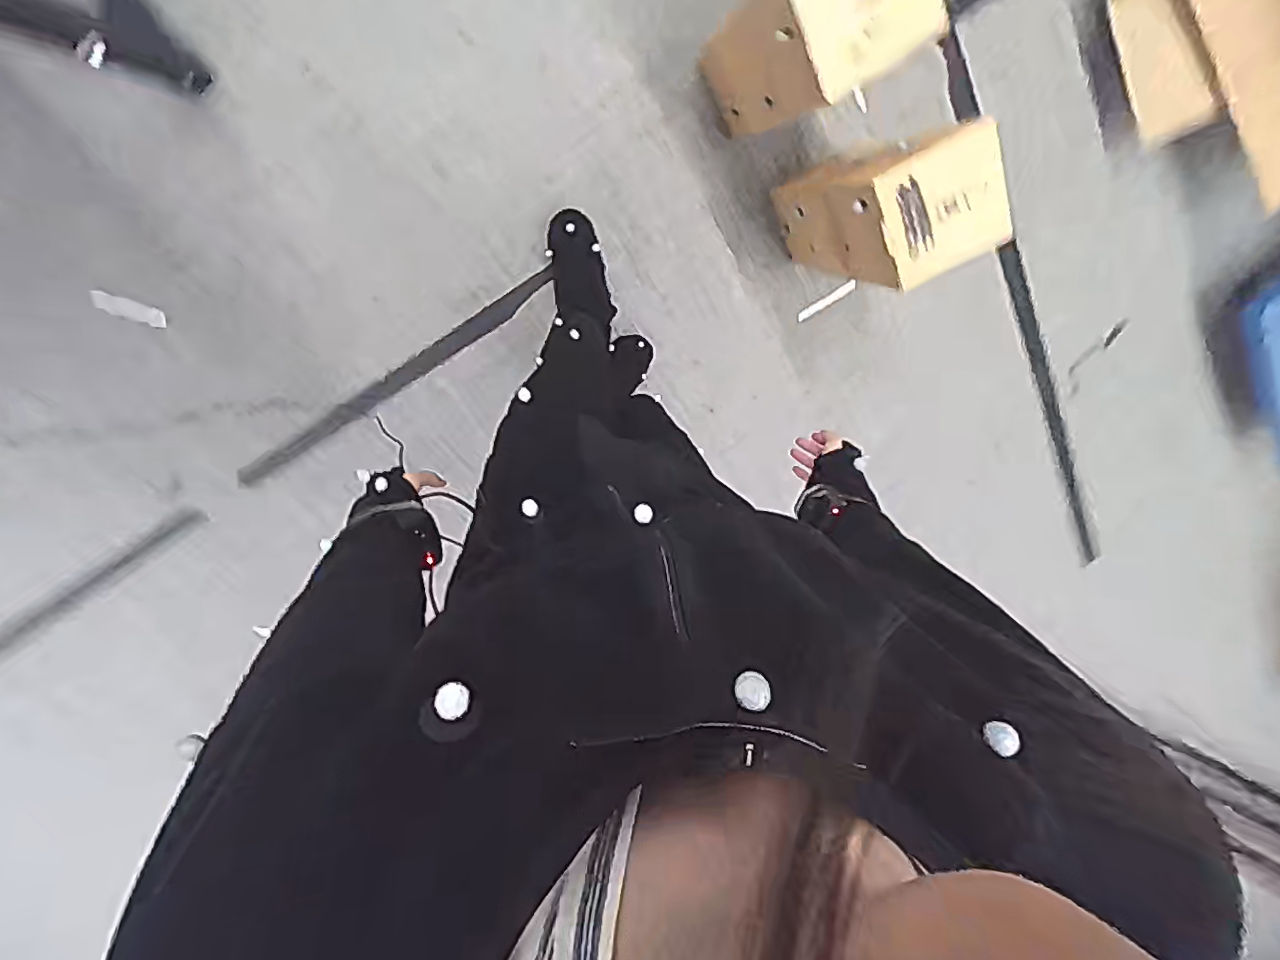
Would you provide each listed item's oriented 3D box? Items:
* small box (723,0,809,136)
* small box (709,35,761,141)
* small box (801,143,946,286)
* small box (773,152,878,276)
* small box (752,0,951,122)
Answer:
[{"bbox_3d":[0.254,-0.691,0.870,0.168,0.176,0.179,-30,117,9],"label":"small box"},{"bbox_3d":[0.243,-0.769,1.012,0.179,0.176,0.168,-31,116,8],"label":"small box"},{"bbox_3d":[0.414,-0.478,0.988,0.179,0.176,0.168,-27,116,6],"label":"small box"},{"bbox_3d":[0.401,-0.555,1.133,0.168,0.176,0.179,-26,117,7],"label":"small box"},{"bbox_3d":[0.271,-0.618,0.722,0.168,0.176,0.179,-29,117,9],"label":"small box"}]
